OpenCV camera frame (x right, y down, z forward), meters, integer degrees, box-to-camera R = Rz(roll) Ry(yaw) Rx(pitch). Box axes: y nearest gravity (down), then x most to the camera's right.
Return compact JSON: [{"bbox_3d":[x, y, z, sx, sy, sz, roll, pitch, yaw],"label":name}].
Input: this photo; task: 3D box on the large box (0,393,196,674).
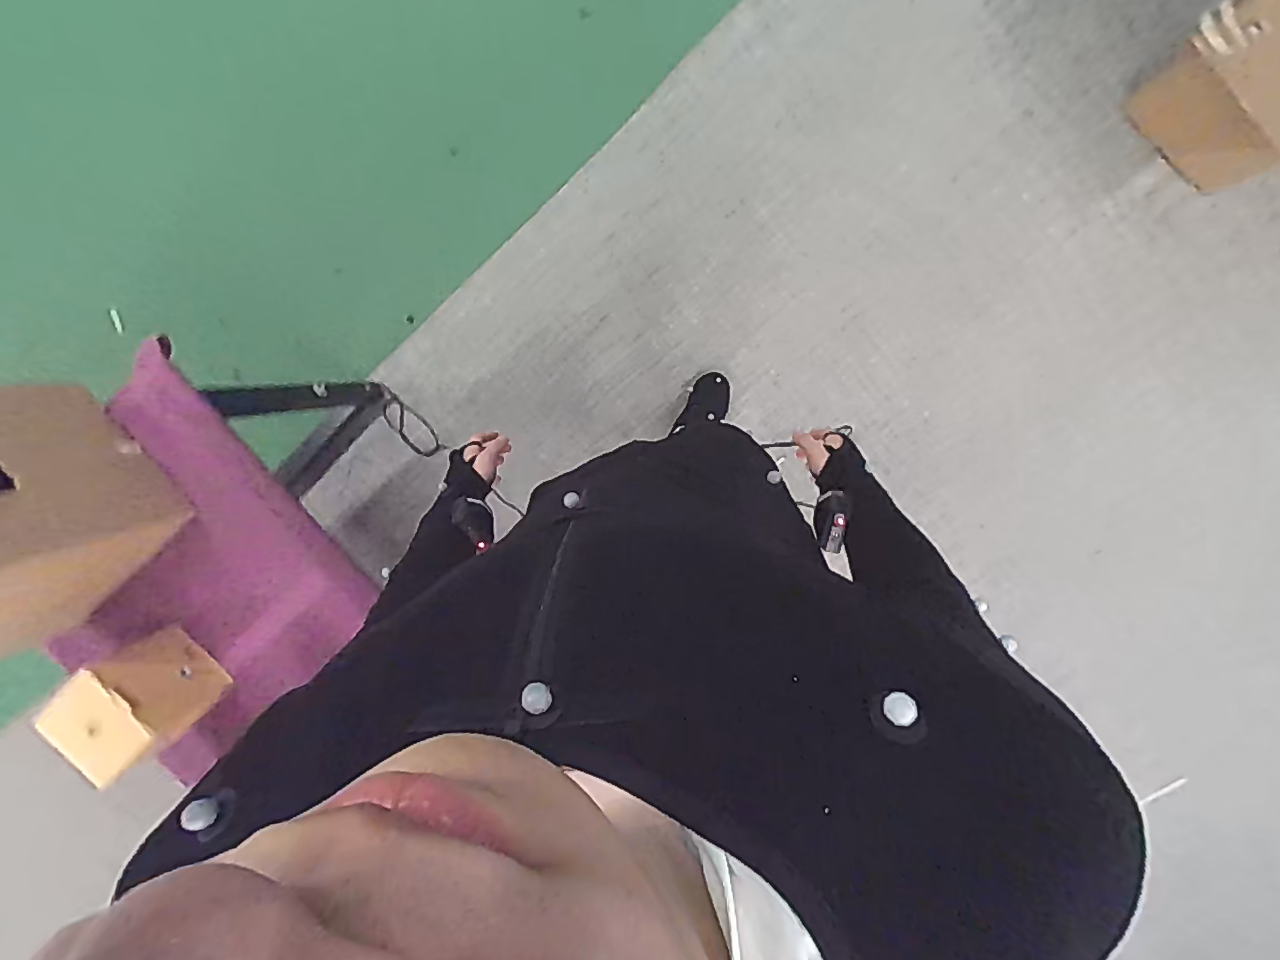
[{"bbox_3d":[-1.072,0.106,0.882,0.408,0.320,0.320,-39,96,12],"label":"large box"}]
